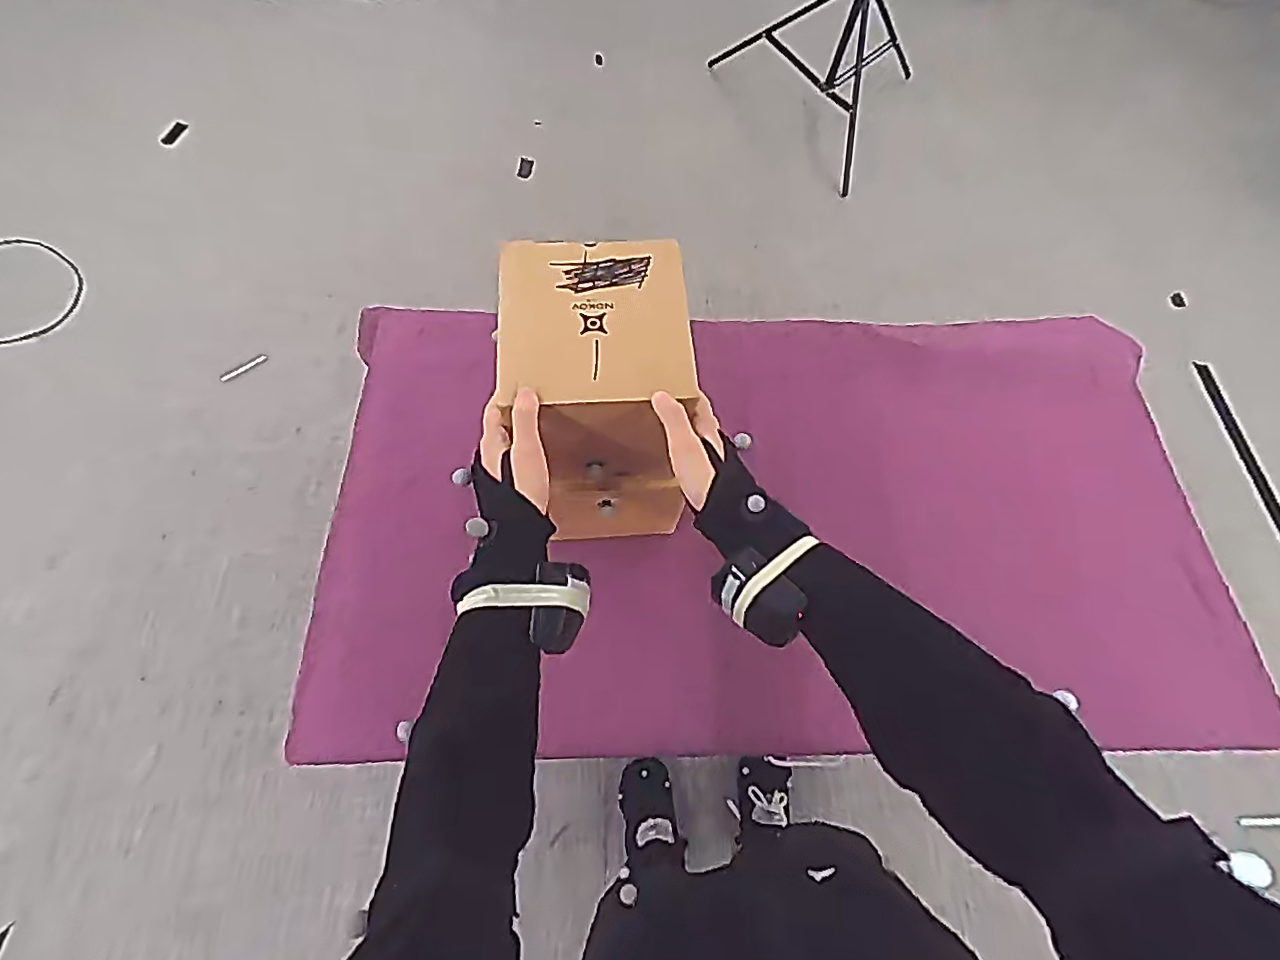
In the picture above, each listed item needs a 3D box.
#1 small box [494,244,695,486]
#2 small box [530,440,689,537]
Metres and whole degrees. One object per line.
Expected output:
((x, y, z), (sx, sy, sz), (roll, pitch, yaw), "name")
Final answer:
((-0.046, -0.107, 0.541), (0.168, 0.176, 0.179), (-3, 68, -4), "small box")
((-0.043, -0.031, 0.687), (0.179, 0.176, 0.168), (-3, 67, -5), "small box")
